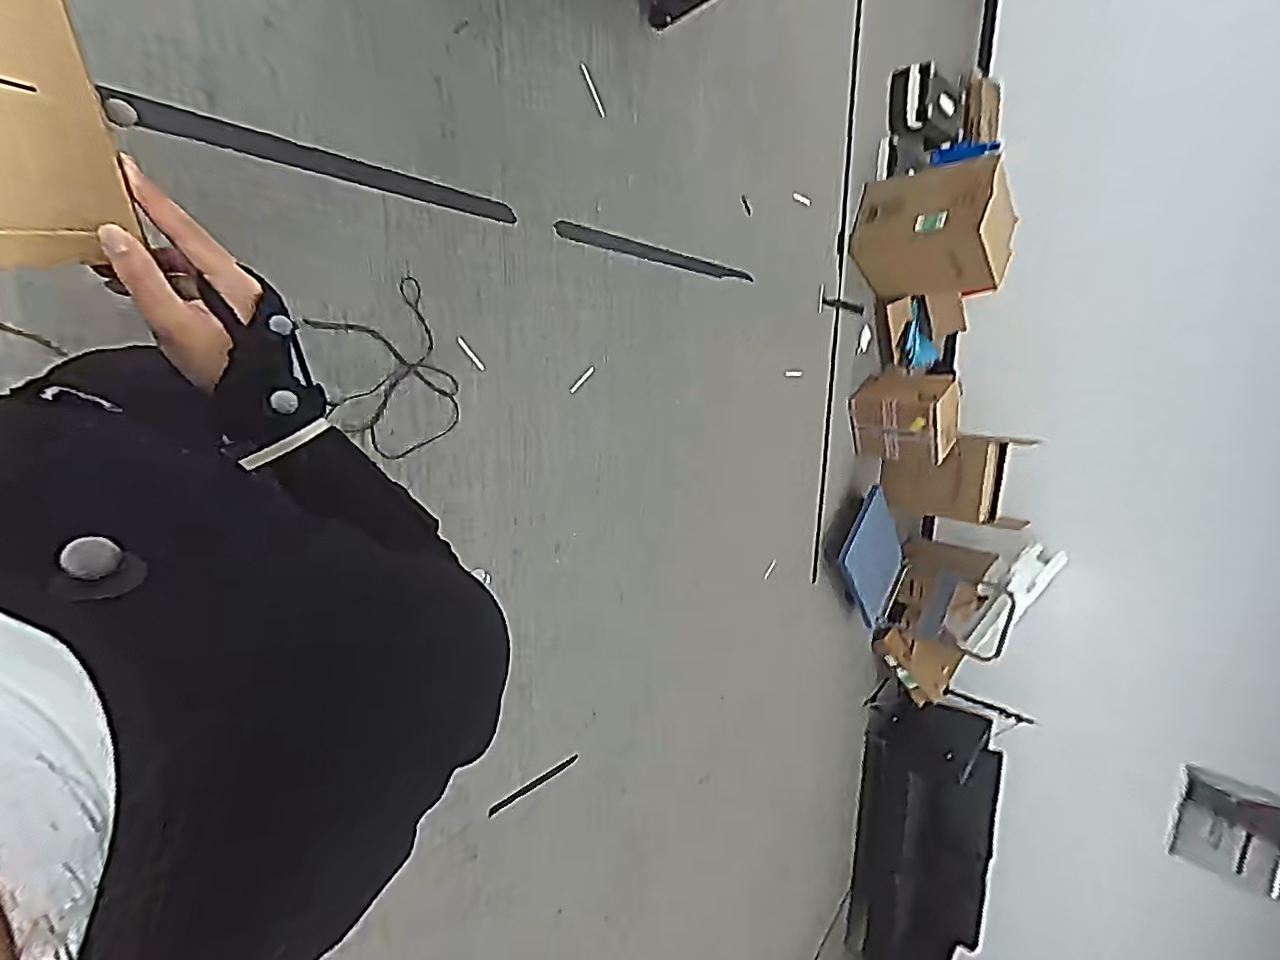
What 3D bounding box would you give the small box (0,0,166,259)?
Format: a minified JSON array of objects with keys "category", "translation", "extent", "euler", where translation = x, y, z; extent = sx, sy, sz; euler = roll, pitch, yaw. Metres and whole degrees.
[{"category":"small box","translation":[-0.379,-0.210,0.271],"extent":[0.179,0.176,0.168],"euler":[-19,128,-38]}]
